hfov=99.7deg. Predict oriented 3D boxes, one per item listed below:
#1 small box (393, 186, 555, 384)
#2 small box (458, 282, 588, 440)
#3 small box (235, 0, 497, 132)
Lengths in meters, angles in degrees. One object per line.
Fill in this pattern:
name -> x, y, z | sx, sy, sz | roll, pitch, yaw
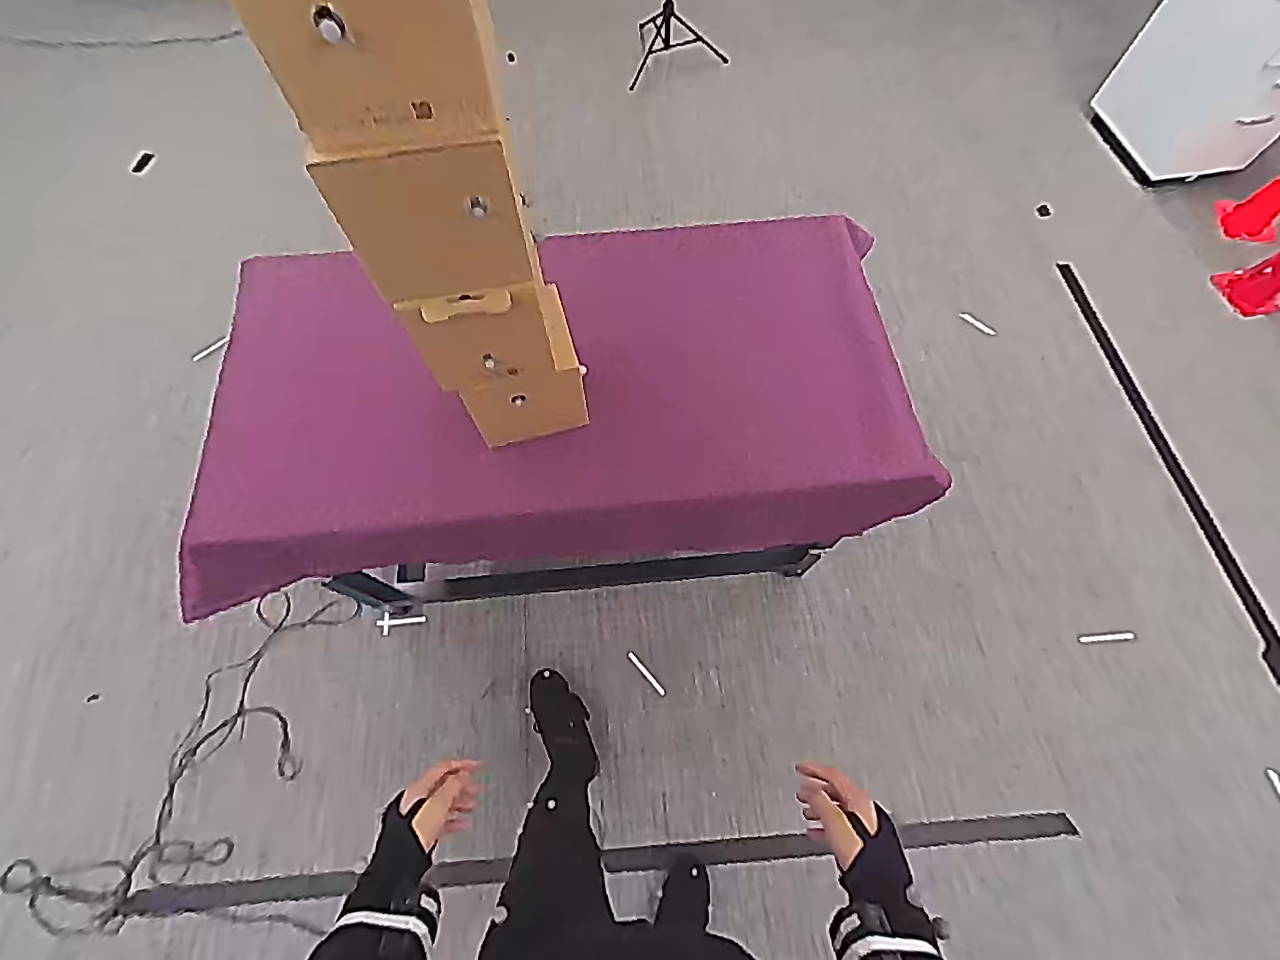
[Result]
small box -> -0.214, -0.255, 0.727 | 0.168, 0.176, 0.179 | -10, 66, -3
small box -> -0.191, -0.184, 0.875 | 0.179, 0.176, 0.168 | -14, 67, -7
small box -> -0.219, -0.414, 0.440 | 0.168, 0.176, 0.179 | -9, 65, -3
